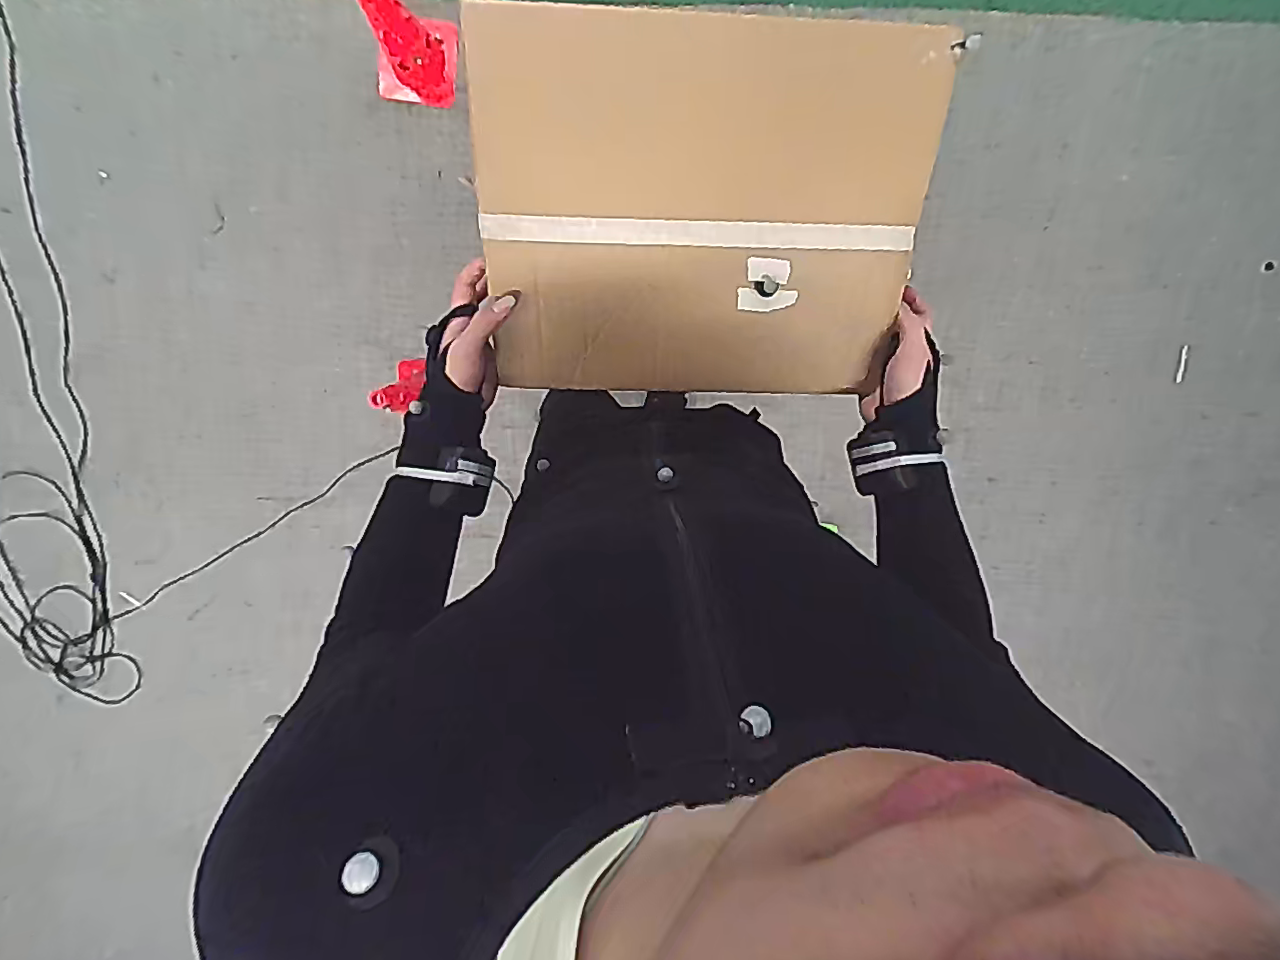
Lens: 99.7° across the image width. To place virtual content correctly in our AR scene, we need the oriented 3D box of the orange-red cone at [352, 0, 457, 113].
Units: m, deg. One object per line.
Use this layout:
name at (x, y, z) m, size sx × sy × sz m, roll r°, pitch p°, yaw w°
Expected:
orange-red cone at (-0.589, -1.051, 1.248) m, size 0.199 × 0.360 × 0.198 m, roll 8°, pitch 99°, yaw 0°

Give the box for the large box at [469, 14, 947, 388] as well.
large box at (0.049, -0.306, 0.641) m, size 0.408 × 0.320 × 0.320 m, roll 0°, pitch 119°, yaw -3°
